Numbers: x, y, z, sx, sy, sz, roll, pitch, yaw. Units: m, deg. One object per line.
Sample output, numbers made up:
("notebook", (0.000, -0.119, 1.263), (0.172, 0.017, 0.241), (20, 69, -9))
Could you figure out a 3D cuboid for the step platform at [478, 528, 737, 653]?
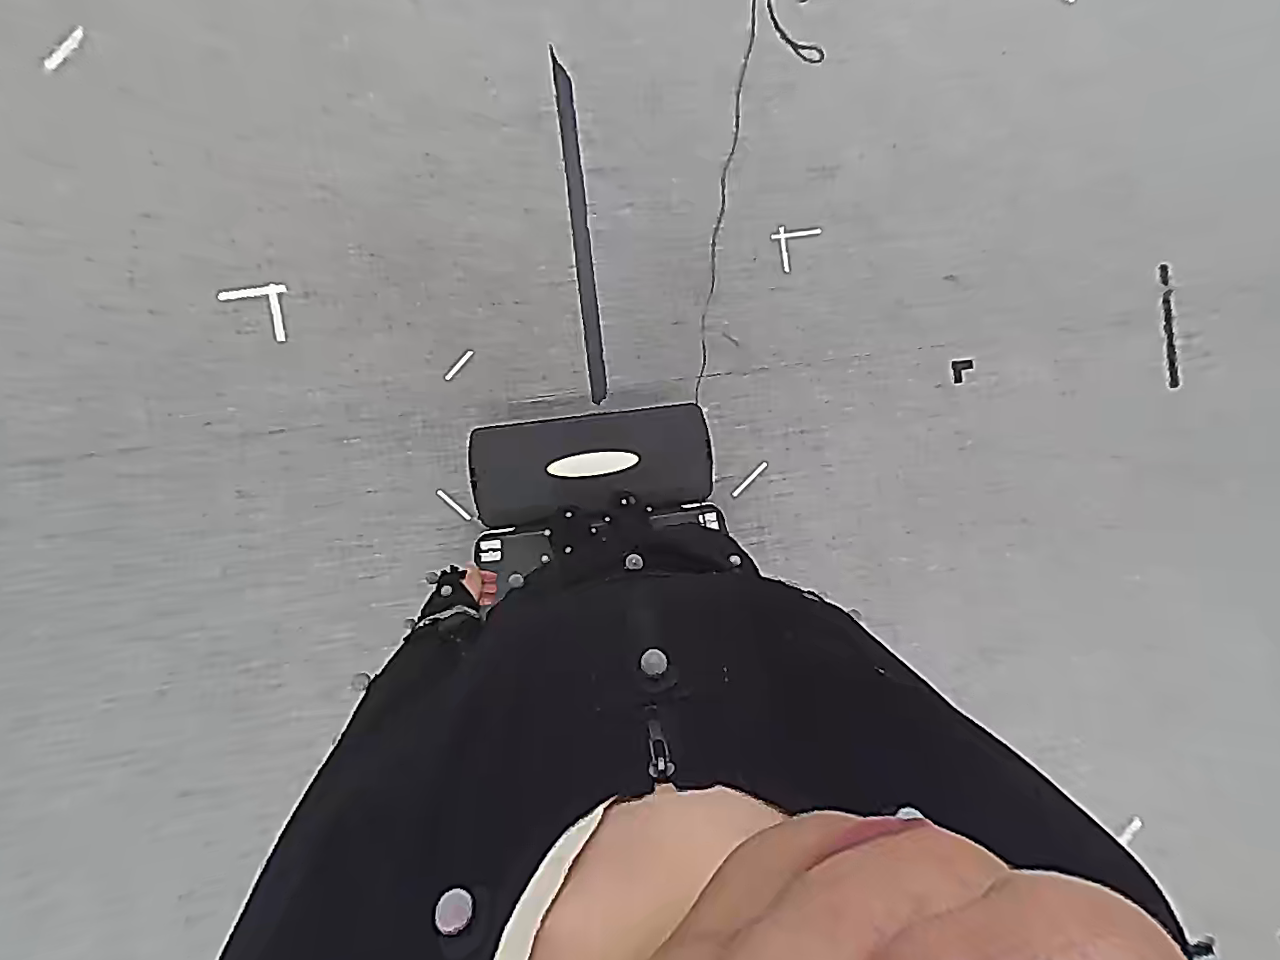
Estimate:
("step platform", (-0.084, 0.292, 1.468), (0.684, 0.204, 0.286), (-3, 88, -4))
